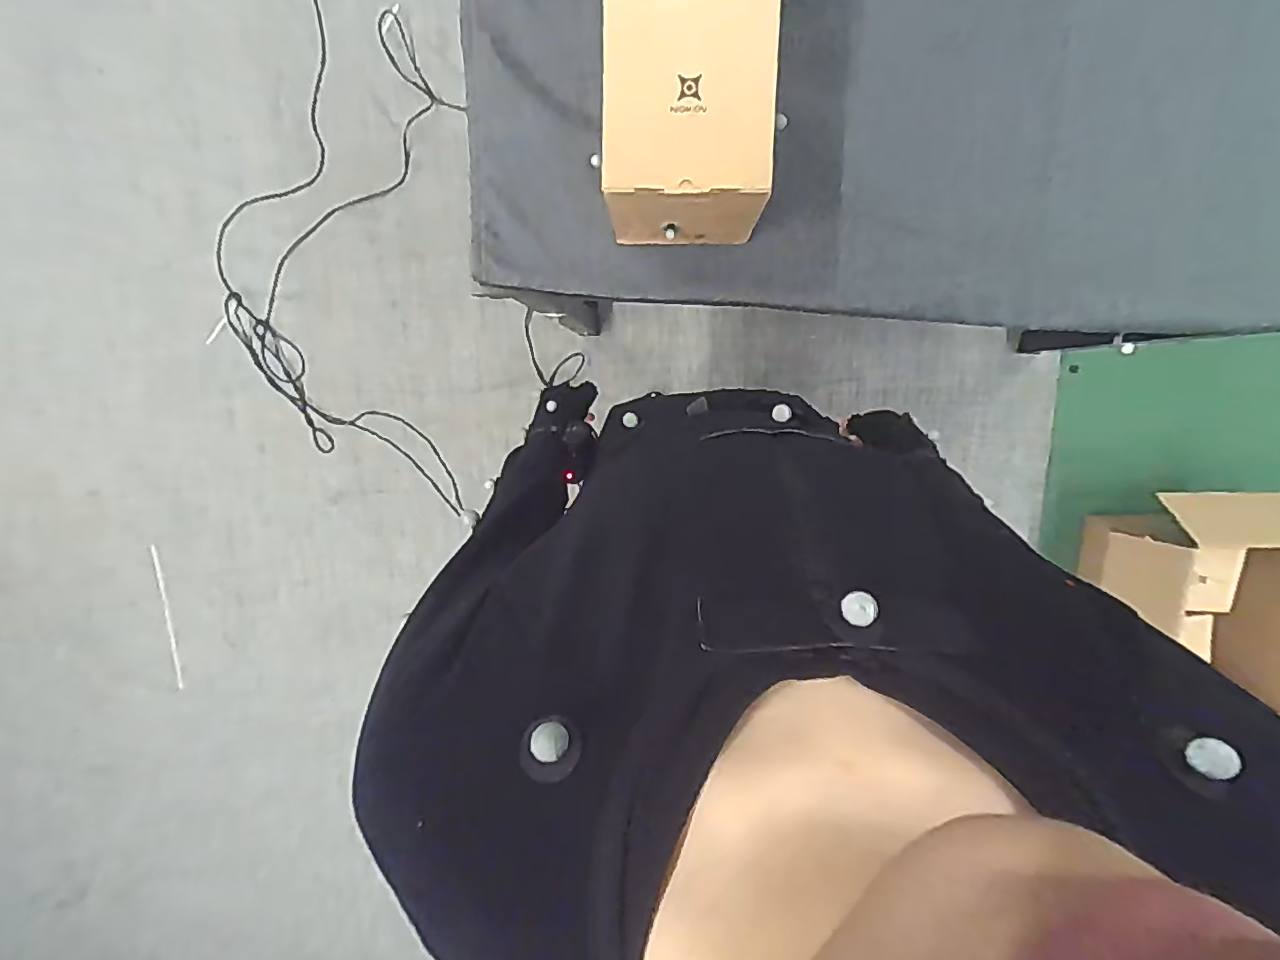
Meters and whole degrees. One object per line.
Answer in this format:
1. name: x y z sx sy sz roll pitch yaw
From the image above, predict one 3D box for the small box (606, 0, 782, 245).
1. small box: 0.052 -0.377 0.595 0.168 0.176 0.179 1 98 2
